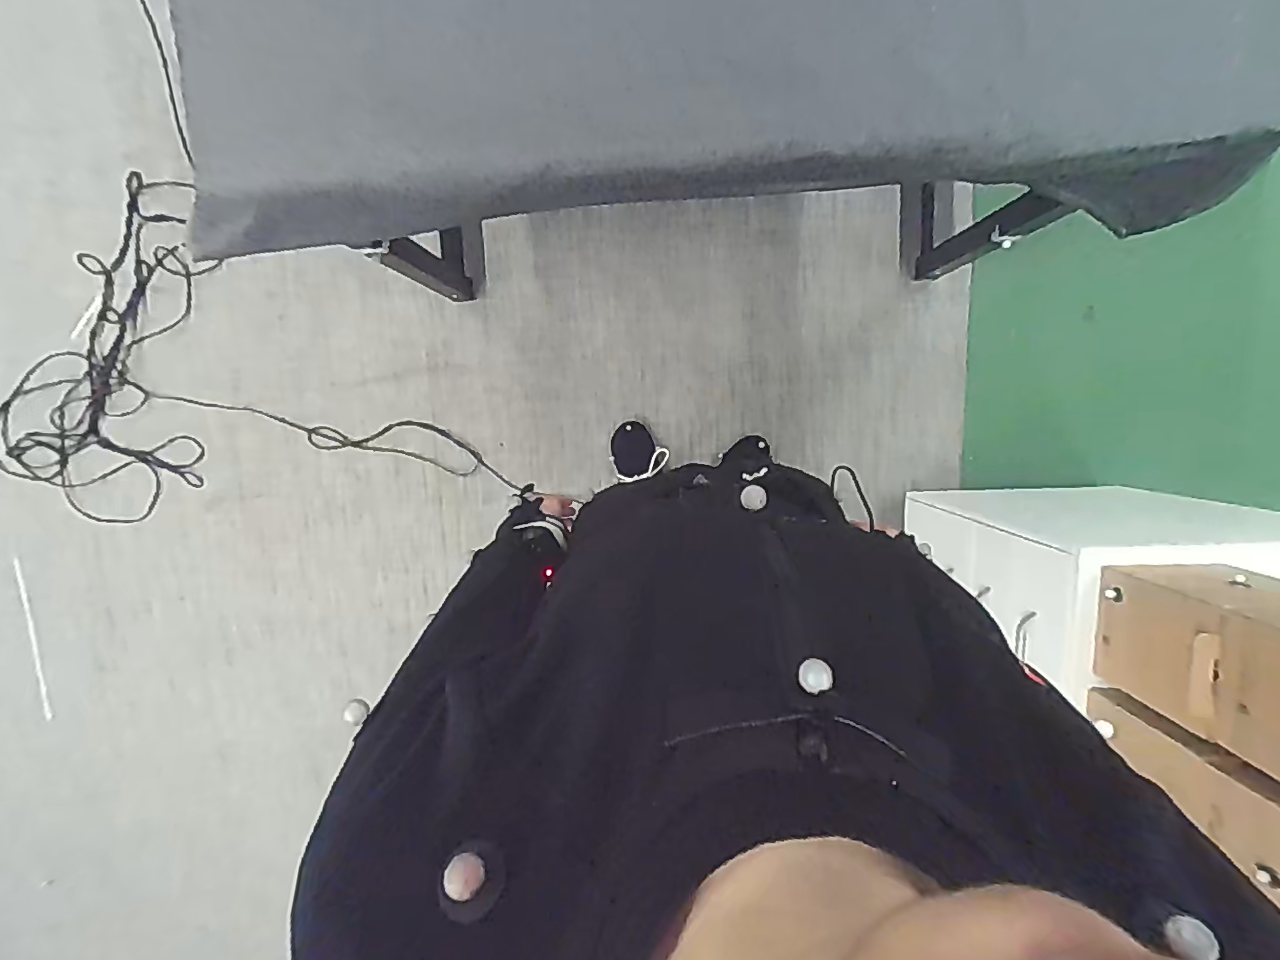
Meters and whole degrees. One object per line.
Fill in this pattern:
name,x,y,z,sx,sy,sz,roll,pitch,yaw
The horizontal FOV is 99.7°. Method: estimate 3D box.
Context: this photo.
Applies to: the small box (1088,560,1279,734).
small box,0.736,0.206,0.704,0.179,0.176,0.168,-2,98,0
